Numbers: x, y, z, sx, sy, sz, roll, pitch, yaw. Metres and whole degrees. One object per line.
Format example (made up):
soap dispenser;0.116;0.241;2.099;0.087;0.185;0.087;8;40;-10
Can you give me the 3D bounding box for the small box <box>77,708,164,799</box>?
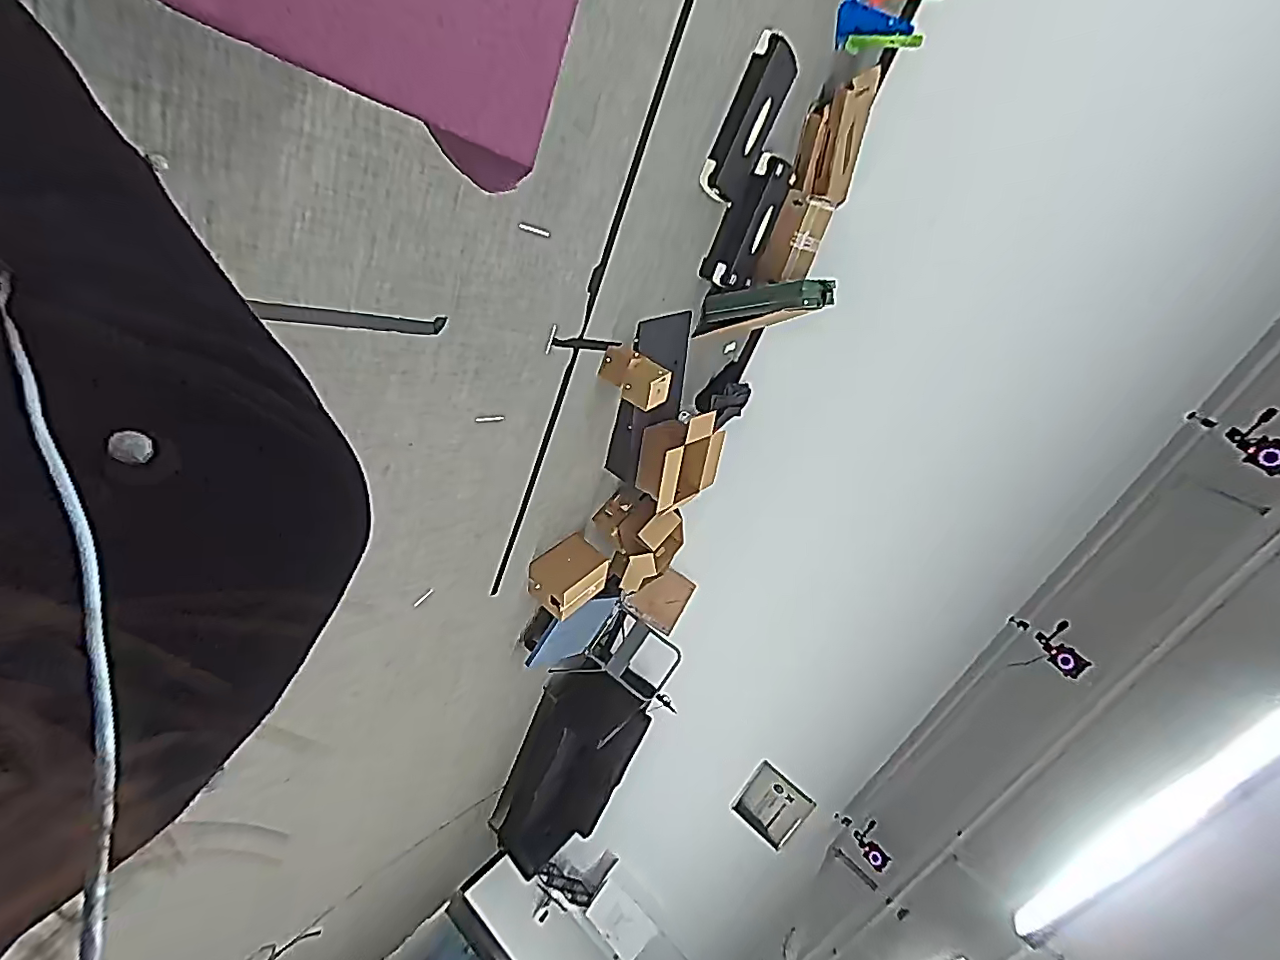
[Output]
small box;-1.684;0.871;1.751;0.168;0.176;0.179;-15;136;-57
